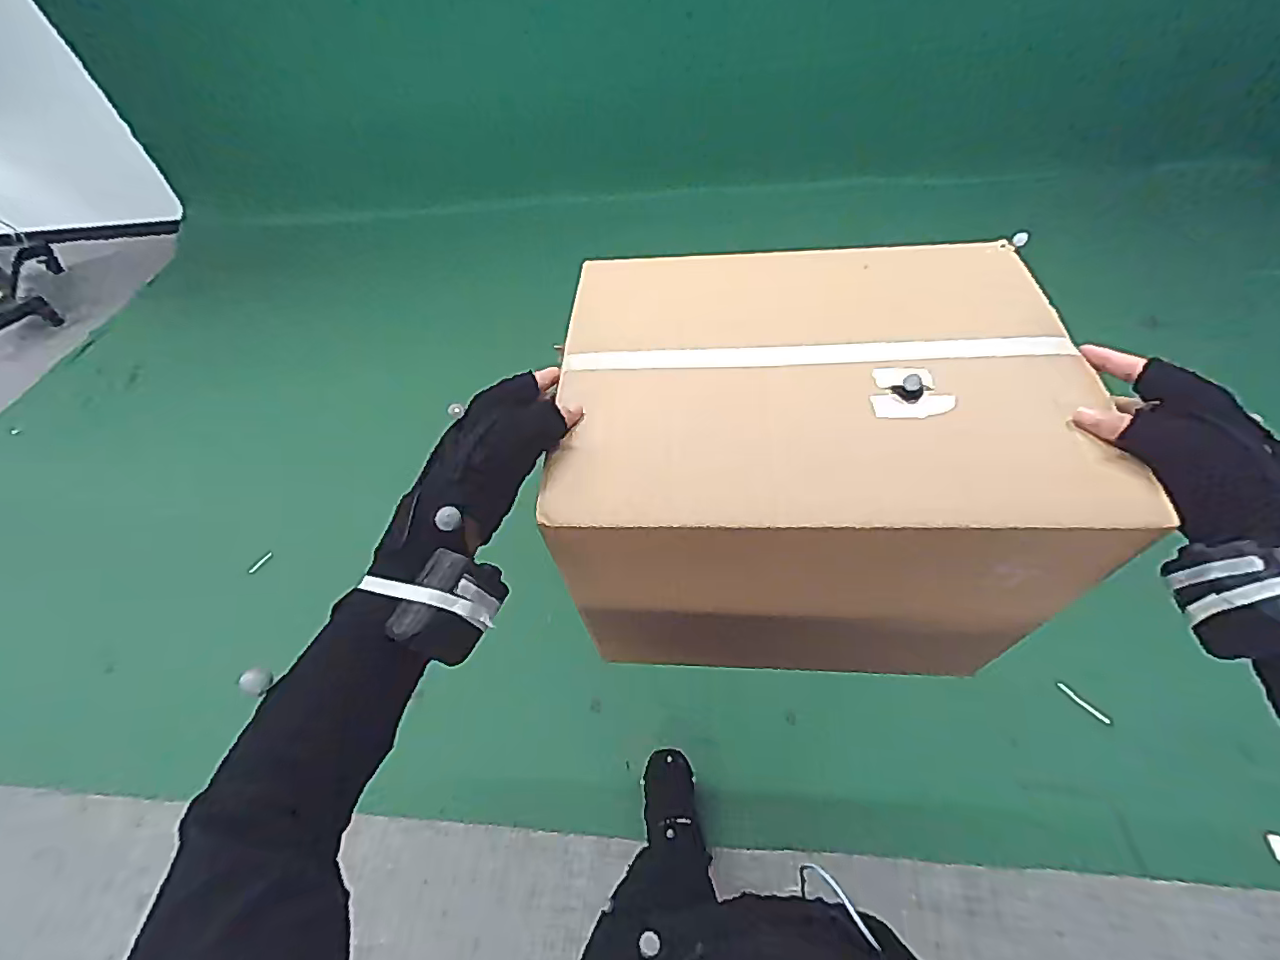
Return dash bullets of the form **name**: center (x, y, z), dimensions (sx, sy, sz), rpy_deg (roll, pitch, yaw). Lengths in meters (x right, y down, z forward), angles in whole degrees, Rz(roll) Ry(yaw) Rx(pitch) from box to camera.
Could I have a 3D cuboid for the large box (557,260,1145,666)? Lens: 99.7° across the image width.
- **large box**: center (0.151, -0.003, 0.575), dimensions (0.408, 0.320, 0.320), rpy_deg (0, 55, 5)
